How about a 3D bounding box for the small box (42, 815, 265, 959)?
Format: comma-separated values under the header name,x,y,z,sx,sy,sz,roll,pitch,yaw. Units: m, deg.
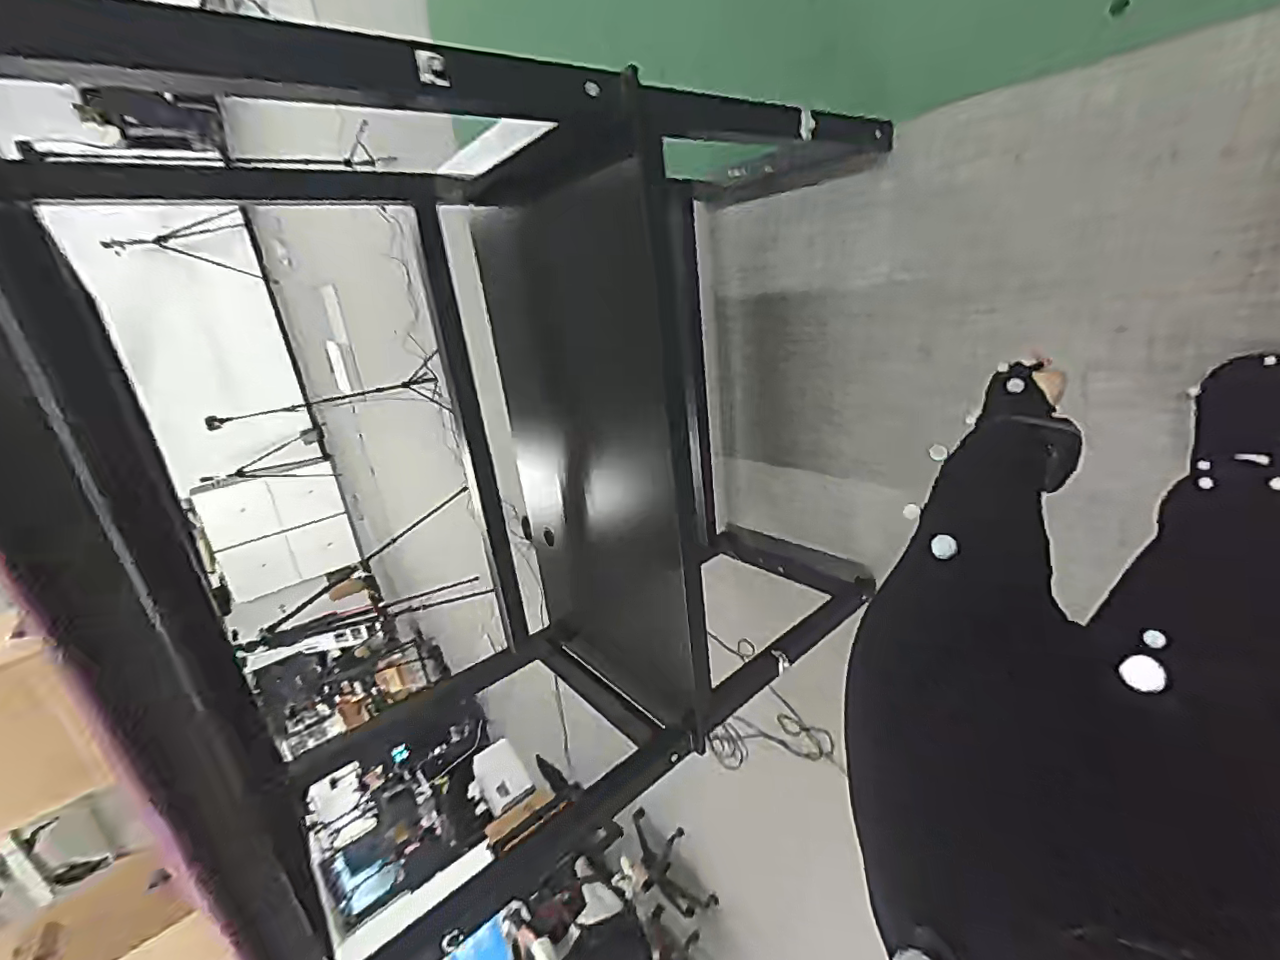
name,x,y,z,sx,sy,sz,roll,pitch,yaw
small box,-0.611,0.591,0.696,0.168,0.176,0.179,15,119,48
